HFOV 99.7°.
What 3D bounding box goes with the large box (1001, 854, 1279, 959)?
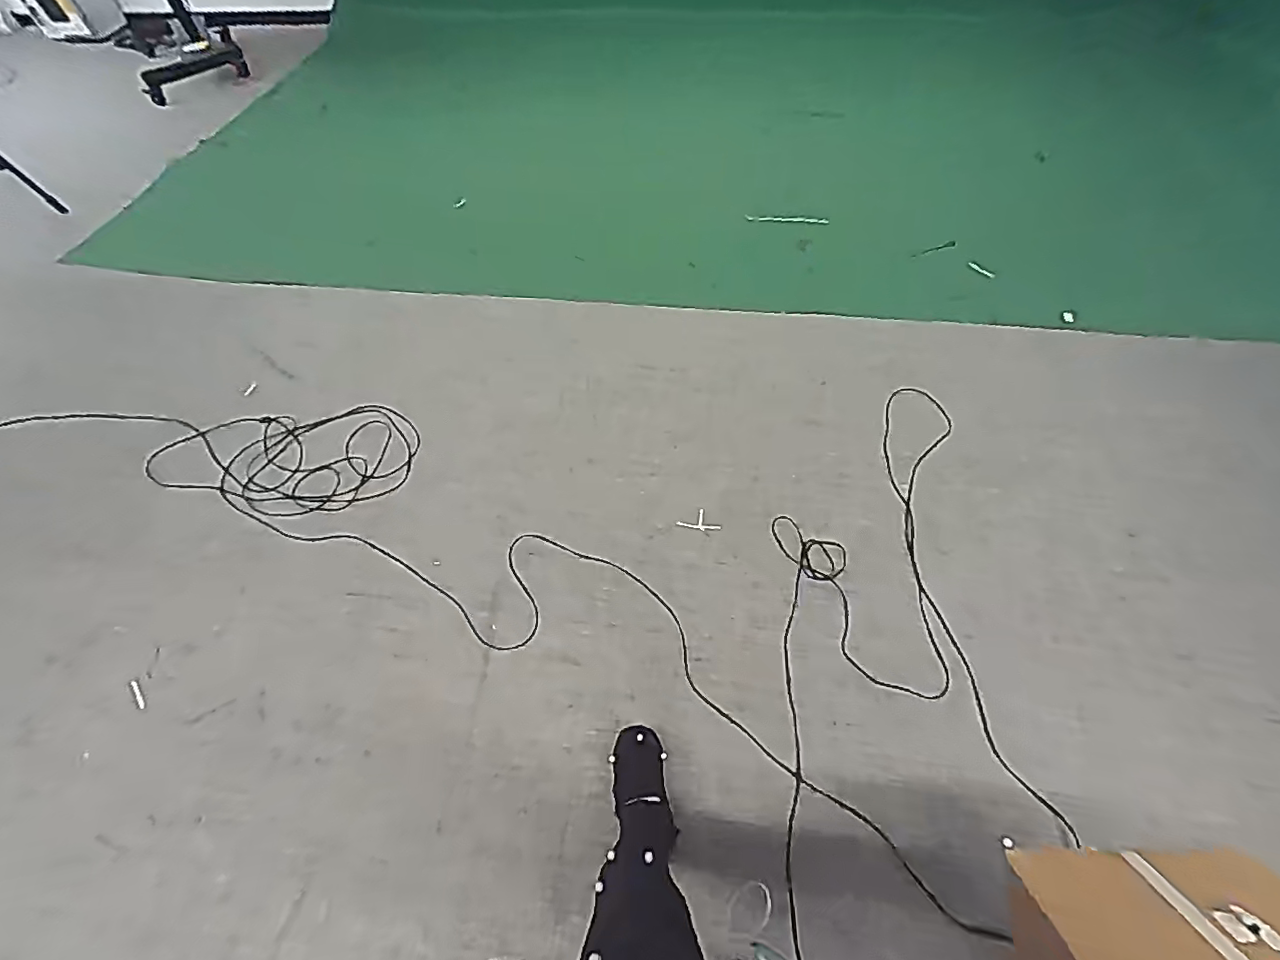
[{"bbox_3d":[0.657,0.683,0.567,0.320,0.408,0.320,-5,88,12],"label":"large box"}]
